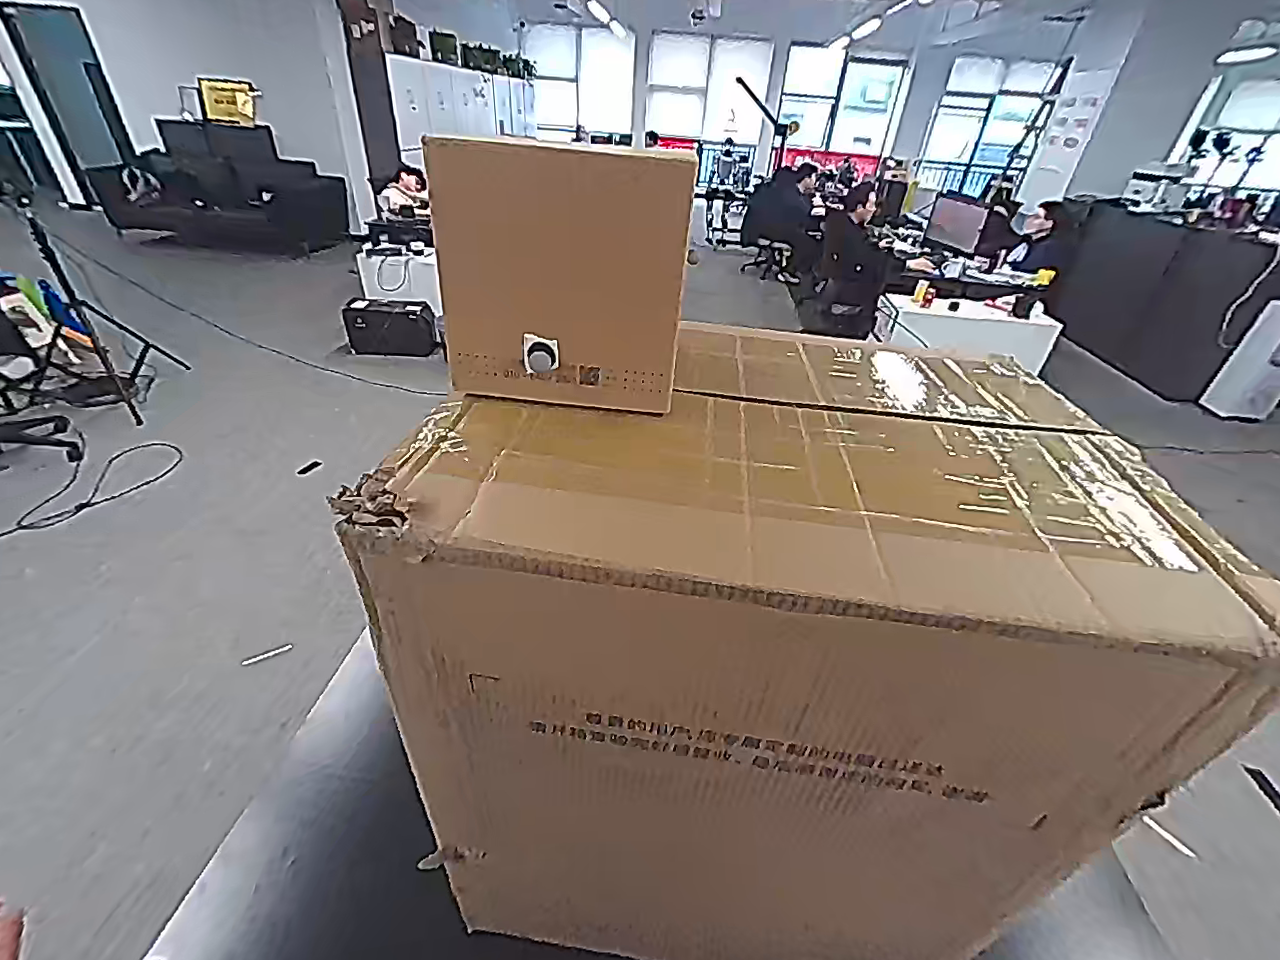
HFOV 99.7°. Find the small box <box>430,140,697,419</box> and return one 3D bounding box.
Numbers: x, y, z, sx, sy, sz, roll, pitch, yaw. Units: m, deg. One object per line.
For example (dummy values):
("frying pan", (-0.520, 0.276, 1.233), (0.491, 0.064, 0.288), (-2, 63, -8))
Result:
("small box", (-0.048, -0.166, 0.435), (0.168, 0.176, 0.179), (4, 33, 0))
